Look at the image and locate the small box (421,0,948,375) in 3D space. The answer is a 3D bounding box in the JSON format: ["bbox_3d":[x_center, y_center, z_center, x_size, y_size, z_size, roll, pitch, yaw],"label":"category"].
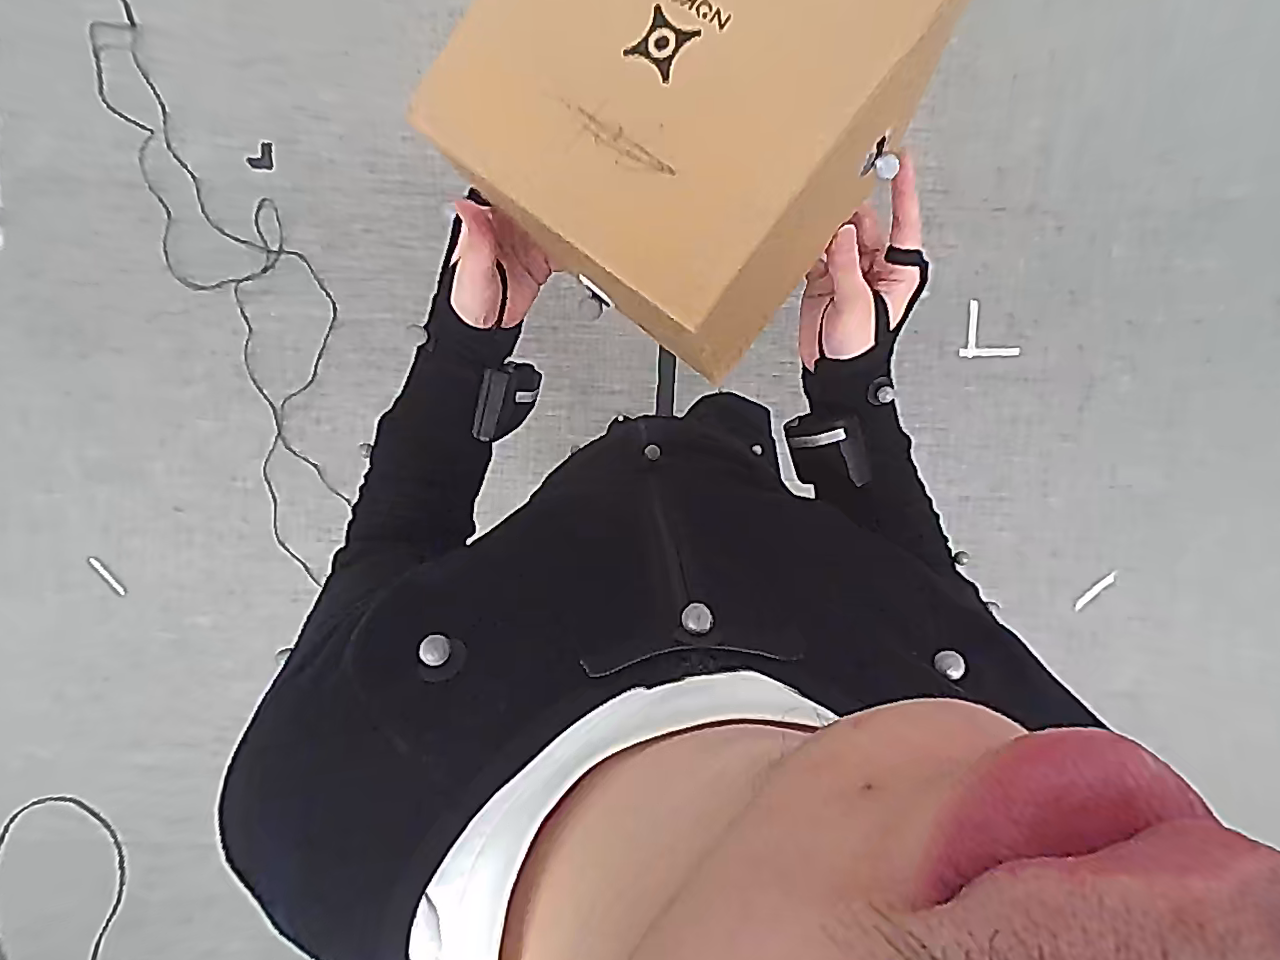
[{"bbox_3d":[0.025,-0.183,0.306,0.168,0.176,0.179,37,99,8],"label":"small box"}]
